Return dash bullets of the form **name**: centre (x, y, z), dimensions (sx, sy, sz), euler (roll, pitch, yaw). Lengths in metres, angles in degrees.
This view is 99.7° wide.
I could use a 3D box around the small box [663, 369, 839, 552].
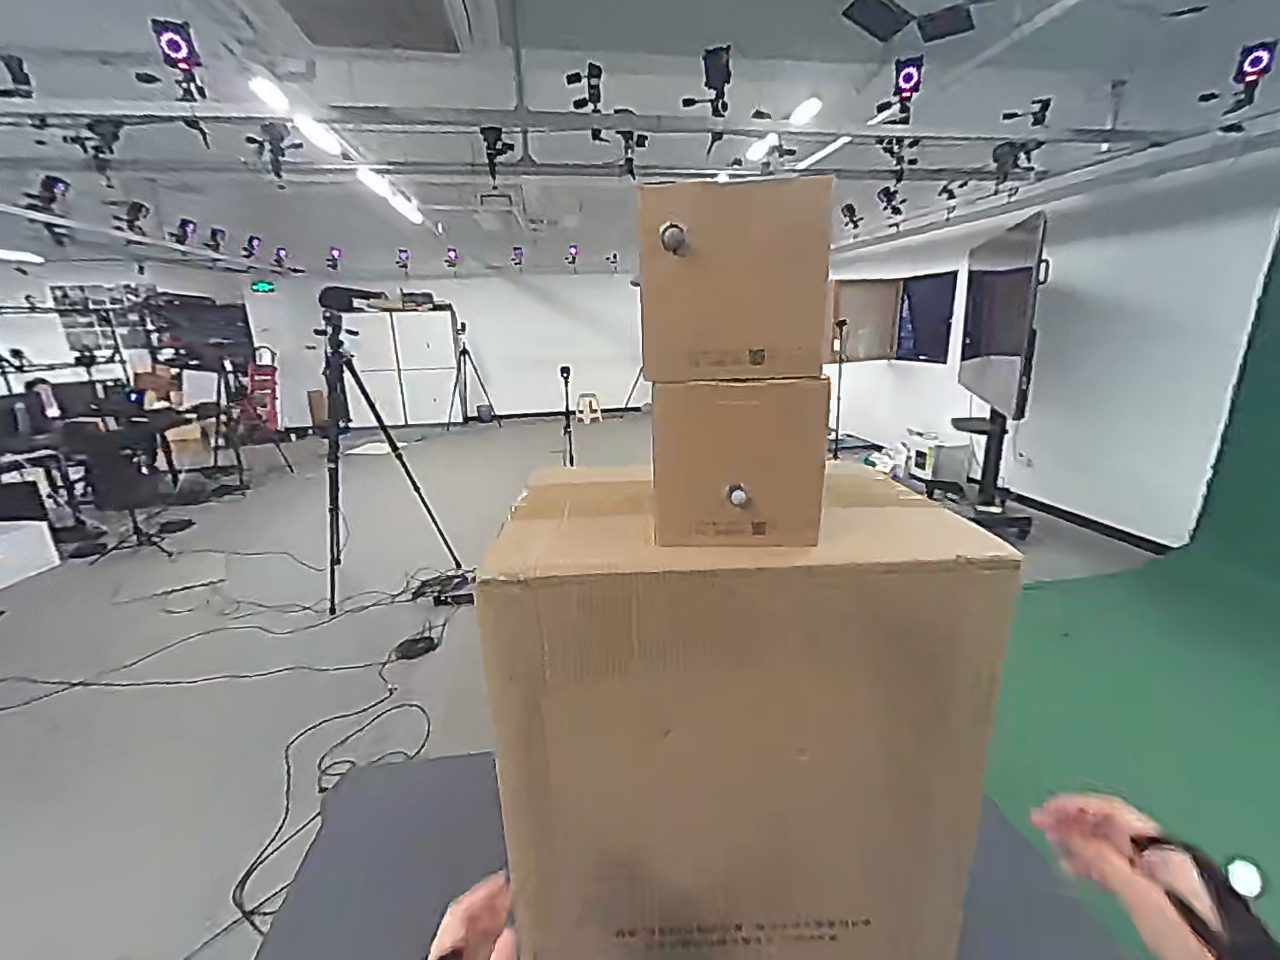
- **small box**: centre (0.111, -0.032, 0.611), dimensions (0.168, 0.176, 0.179), euler (0, 18, 4)
